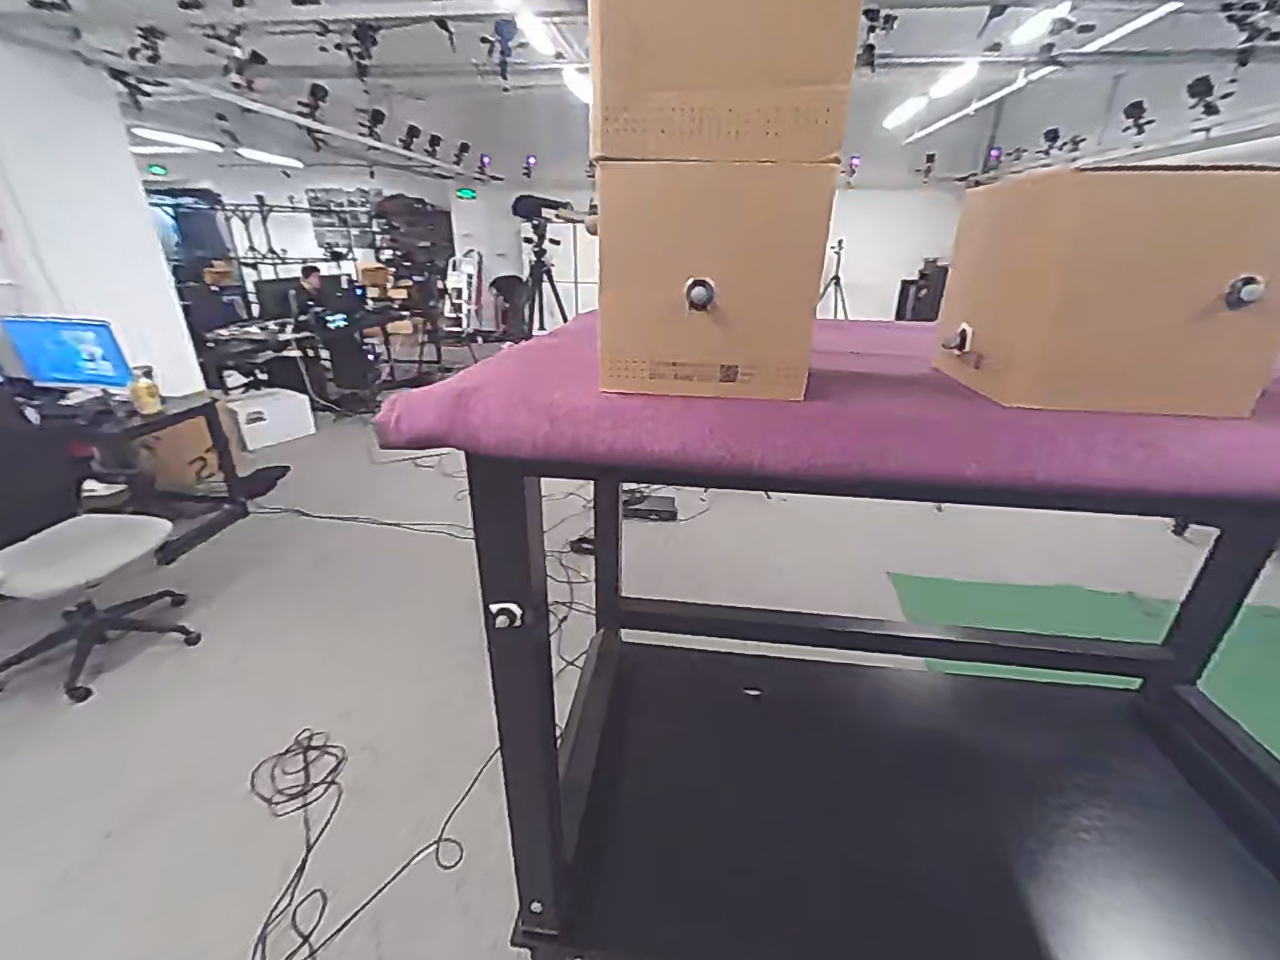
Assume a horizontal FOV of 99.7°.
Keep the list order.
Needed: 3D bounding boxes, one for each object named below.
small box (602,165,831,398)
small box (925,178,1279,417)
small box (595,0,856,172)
[{"bbox_3d":[0.061,-0.177,0.490,0.168,0.176,0.179,5,23,4],"label":"small box"},{"bbox_3d":[0.380,-0.156,0.468,0.179,0.176,0.168,3,23,5],"label":"small box"},{"bbox_3d":[0.060,-0.326,0.424,0.179,0.176,0.168,3,24,2],"label":"small box"}]
